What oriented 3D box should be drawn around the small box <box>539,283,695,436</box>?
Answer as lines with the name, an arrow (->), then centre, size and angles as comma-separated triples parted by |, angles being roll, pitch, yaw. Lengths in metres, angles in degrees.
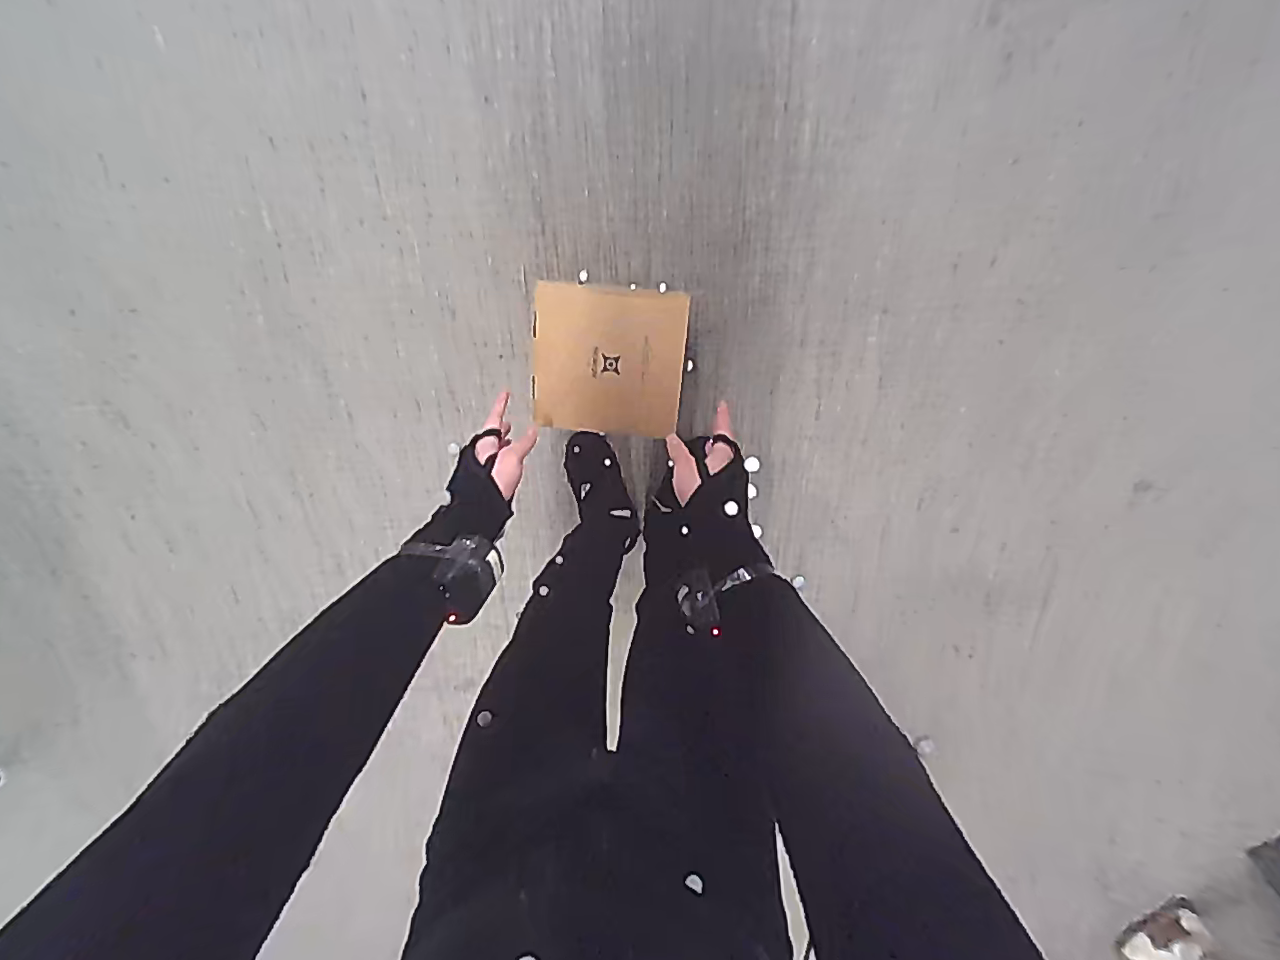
small box -> -0.027, -0.163, 0.708 | 0.179, 0.176, 0.168 | 4, 110, 0
